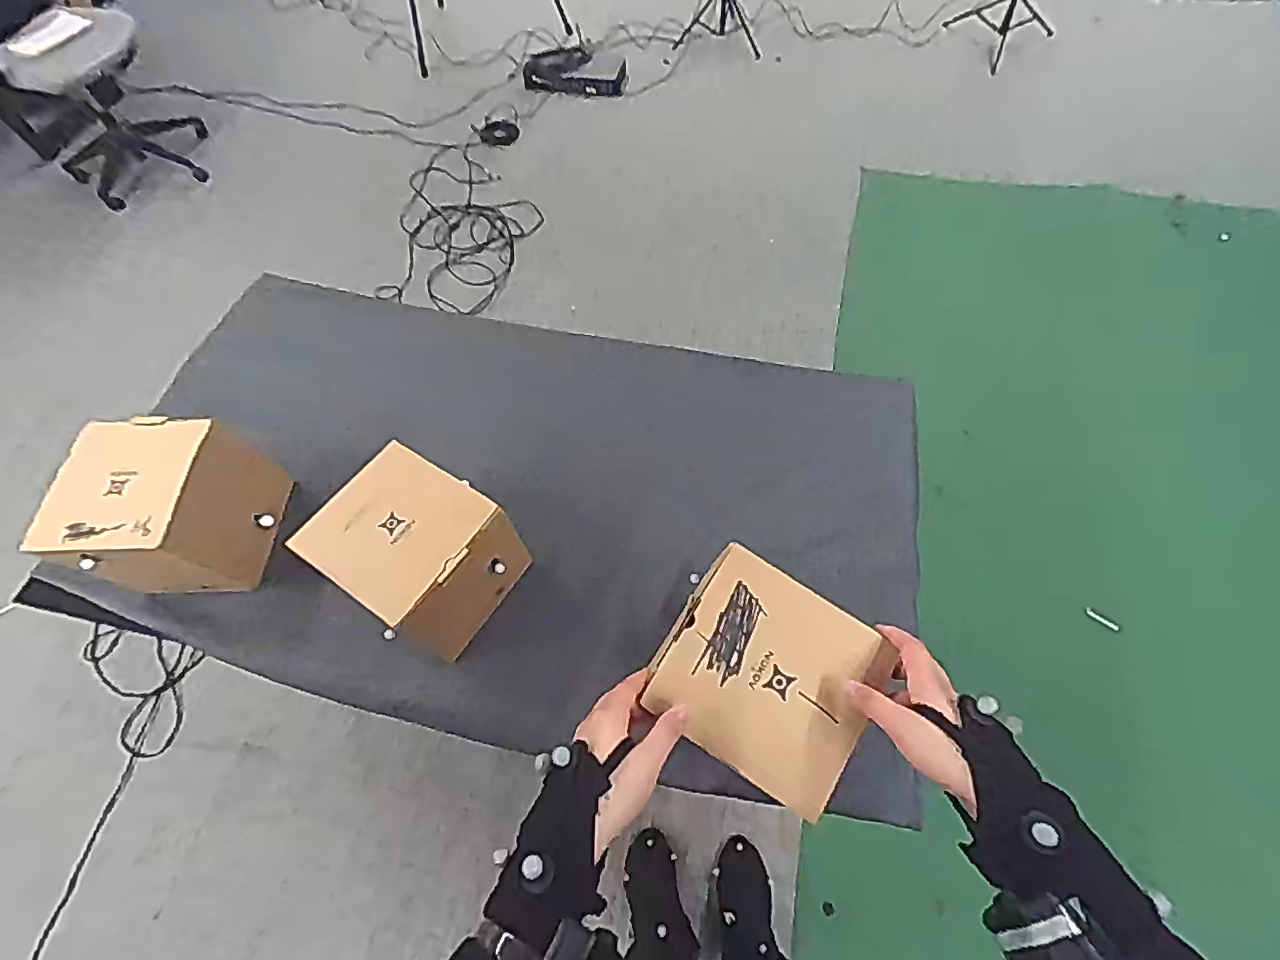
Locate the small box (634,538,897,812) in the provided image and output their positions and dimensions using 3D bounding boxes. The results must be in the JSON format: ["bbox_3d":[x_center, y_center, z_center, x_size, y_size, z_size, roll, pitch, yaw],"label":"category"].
[{"bbox_3d":[0.110,0.183,0.544,0.179,0.176,0.168,32,78,9],"label":"small box"}]

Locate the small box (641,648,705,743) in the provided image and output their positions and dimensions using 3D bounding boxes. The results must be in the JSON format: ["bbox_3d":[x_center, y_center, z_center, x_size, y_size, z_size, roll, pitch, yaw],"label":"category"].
[{"bbox_3d":[0.098,0.500,1.244,0.168,0.176,0.179,5,63,6],"label":"small box"}]

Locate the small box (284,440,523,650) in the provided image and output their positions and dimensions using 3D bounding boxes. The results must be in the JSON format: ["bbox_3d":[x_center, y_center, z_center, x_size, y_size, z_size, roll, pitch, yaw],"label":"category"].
[{"bbox_3d":[-0.270,0.088,0.664,0.179,0.176,0.168,28,64,18],"label":"small box"}]

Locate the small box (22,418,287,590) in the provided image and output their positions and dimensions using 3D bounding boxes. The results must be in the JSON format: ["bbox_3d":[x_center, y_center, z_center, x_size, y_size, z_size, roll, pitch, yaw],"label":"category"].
[{"bbox_3d":[-0.611,0.037,0.713,0.168,0.176,0.179,-2,63,3],"label":"small box"}]
